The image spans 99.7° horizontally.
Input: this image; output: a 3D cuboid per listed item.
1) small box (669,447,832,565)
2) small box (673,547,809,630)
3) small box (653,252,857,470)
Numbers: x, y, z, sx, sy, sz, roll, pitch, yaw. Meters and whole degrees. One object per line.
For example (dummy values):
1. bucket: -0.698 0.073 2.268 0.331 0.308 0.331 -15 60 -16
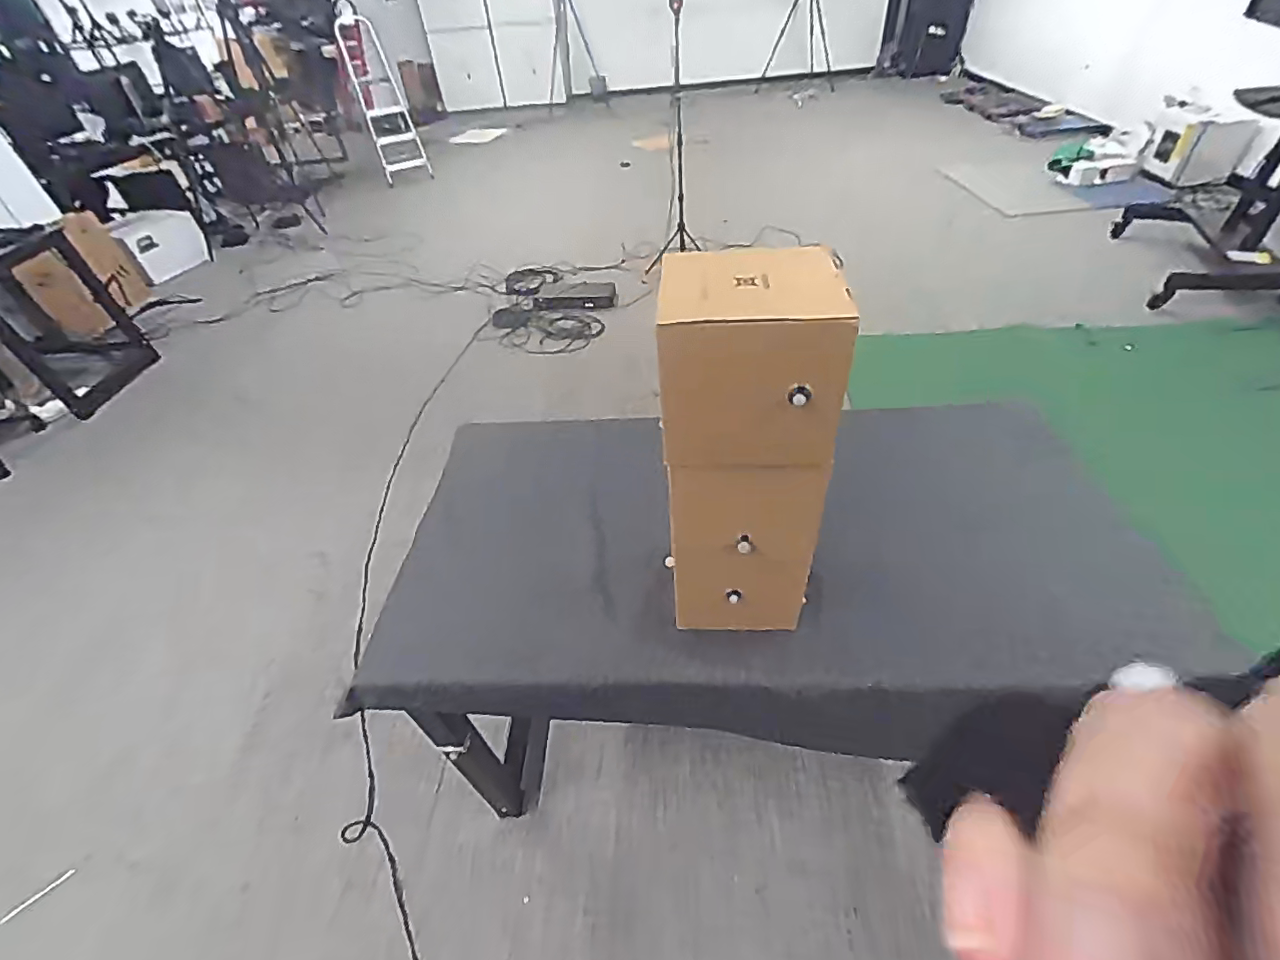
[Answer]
1. small box: 0.127 -0.006 0.690 0.179 0.176 0.168 -3 44 5
2. small box: 0.140 0.109 0.802 0.179 0.176 0.168 -2 43 6
3. small box: 0.111 -0.123 0.575 0.179 0.176 0.168 -1 42 7
